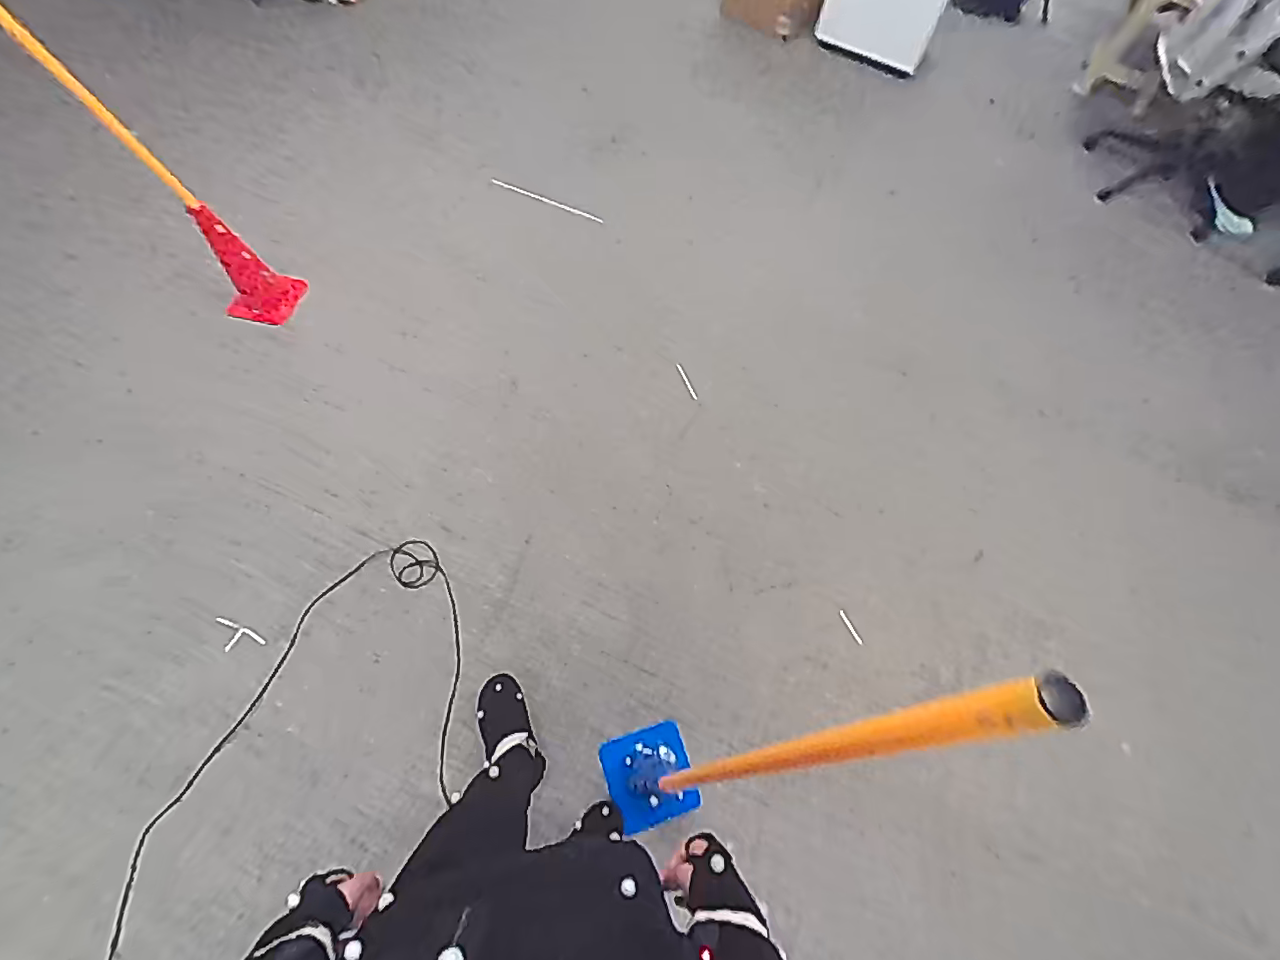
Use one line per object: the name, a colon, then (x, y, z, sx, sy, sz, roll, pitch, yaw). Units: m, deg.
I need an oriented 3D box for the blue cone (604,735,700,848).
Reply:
blue cone: (0.037, 0.628, 1.088, 0.193, 0.380, 0.192, -16, 66, -12)
